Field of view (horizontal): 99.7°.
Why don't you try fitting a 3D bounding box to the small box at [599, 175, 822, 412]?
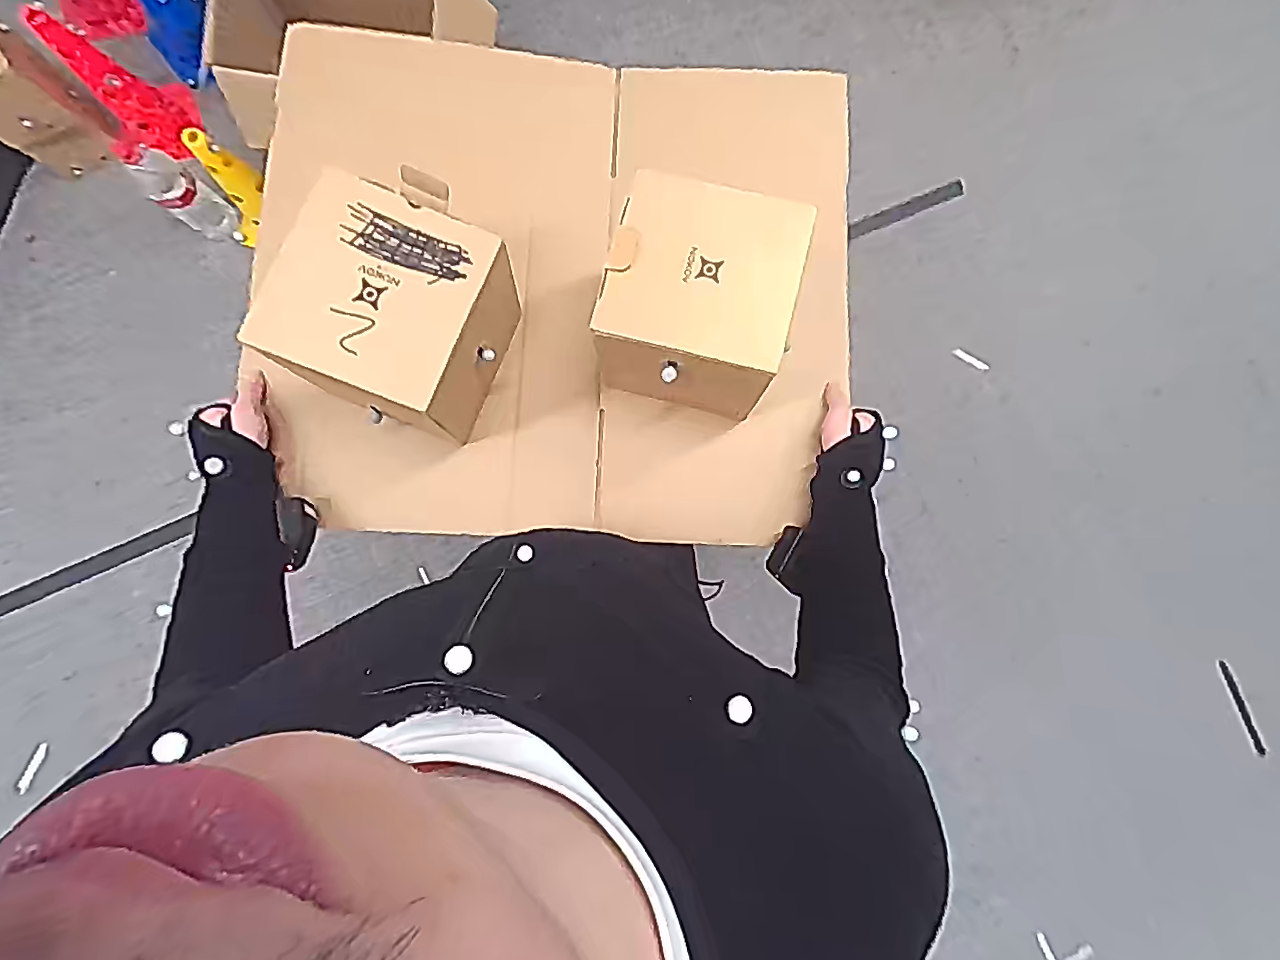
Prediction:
[{"bbox_3d":[0.069,-0.183,0.582,0.179,0.176,0.168,15,84,4],"label":"small box"}]
